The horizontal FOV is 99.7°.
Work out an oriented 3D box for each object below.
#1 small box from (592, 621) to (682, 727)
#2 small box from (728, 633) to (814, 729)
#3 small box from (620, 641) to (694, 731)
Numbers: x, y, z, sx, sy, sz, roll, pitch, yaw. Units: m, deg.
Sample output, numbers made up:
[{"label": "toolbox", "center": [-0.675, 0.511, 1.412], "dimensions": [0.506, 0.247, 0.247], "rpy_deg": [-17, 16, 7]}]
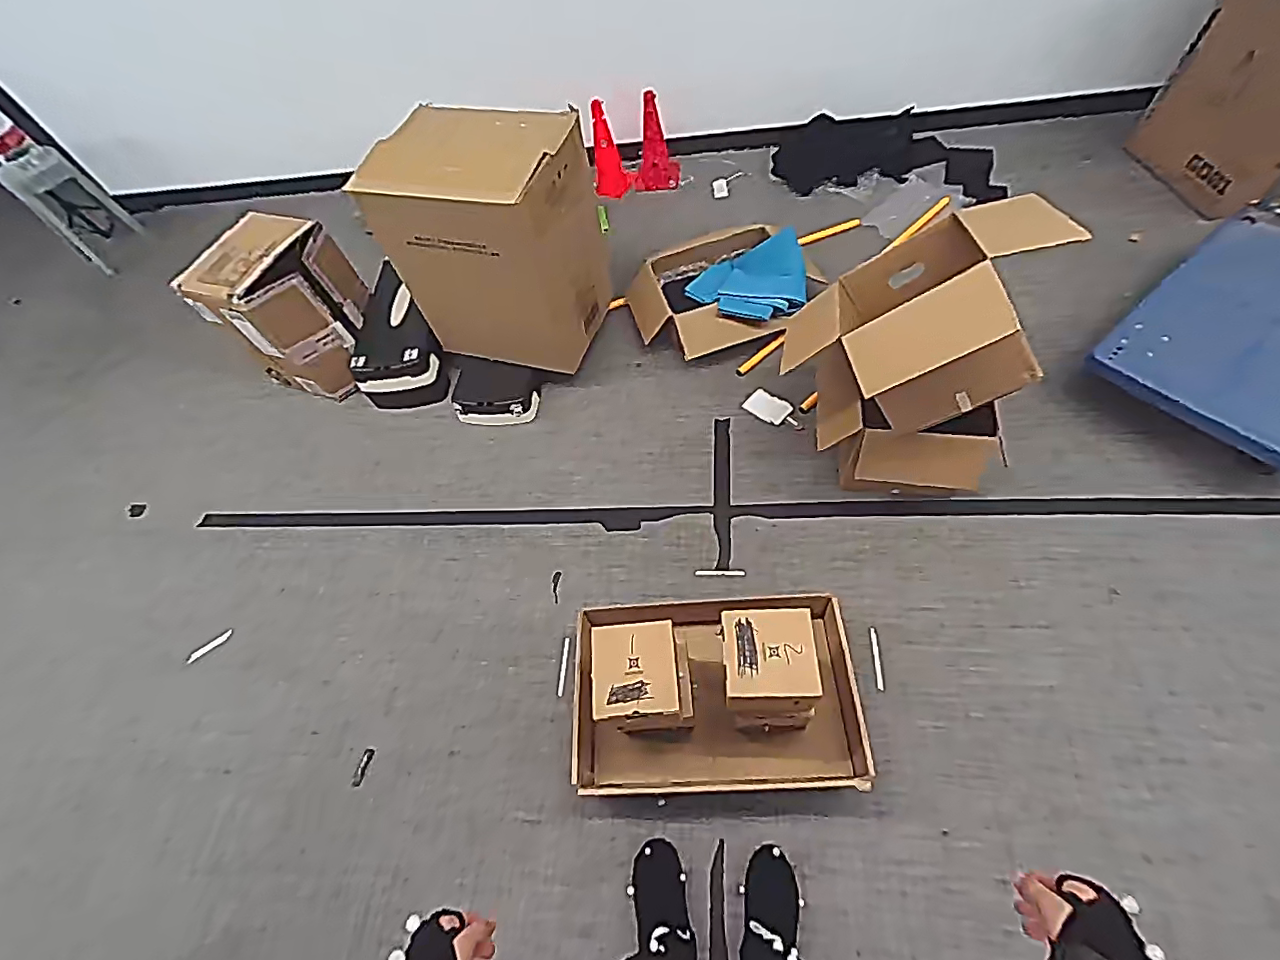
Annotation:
[{"label": "small box", "center": [-0.004, 0.406, 1.116], "dimensions": [0.168, 0.176, 0.179], "rpy_deg": [-6, 58, 3]}, {"label": "small box", "center": [0.290, 0.461, 1.235], "dimensions": [0.168, 0.176, 0.179], "rpy_deg": [-5, 59, 7]}, {"label": "small box", "center": [0.033, 0.482, 1.258], "dimensions": [0.179, 0.176, 0.168], "rpy_deg": [-6, 58, 4]}]
